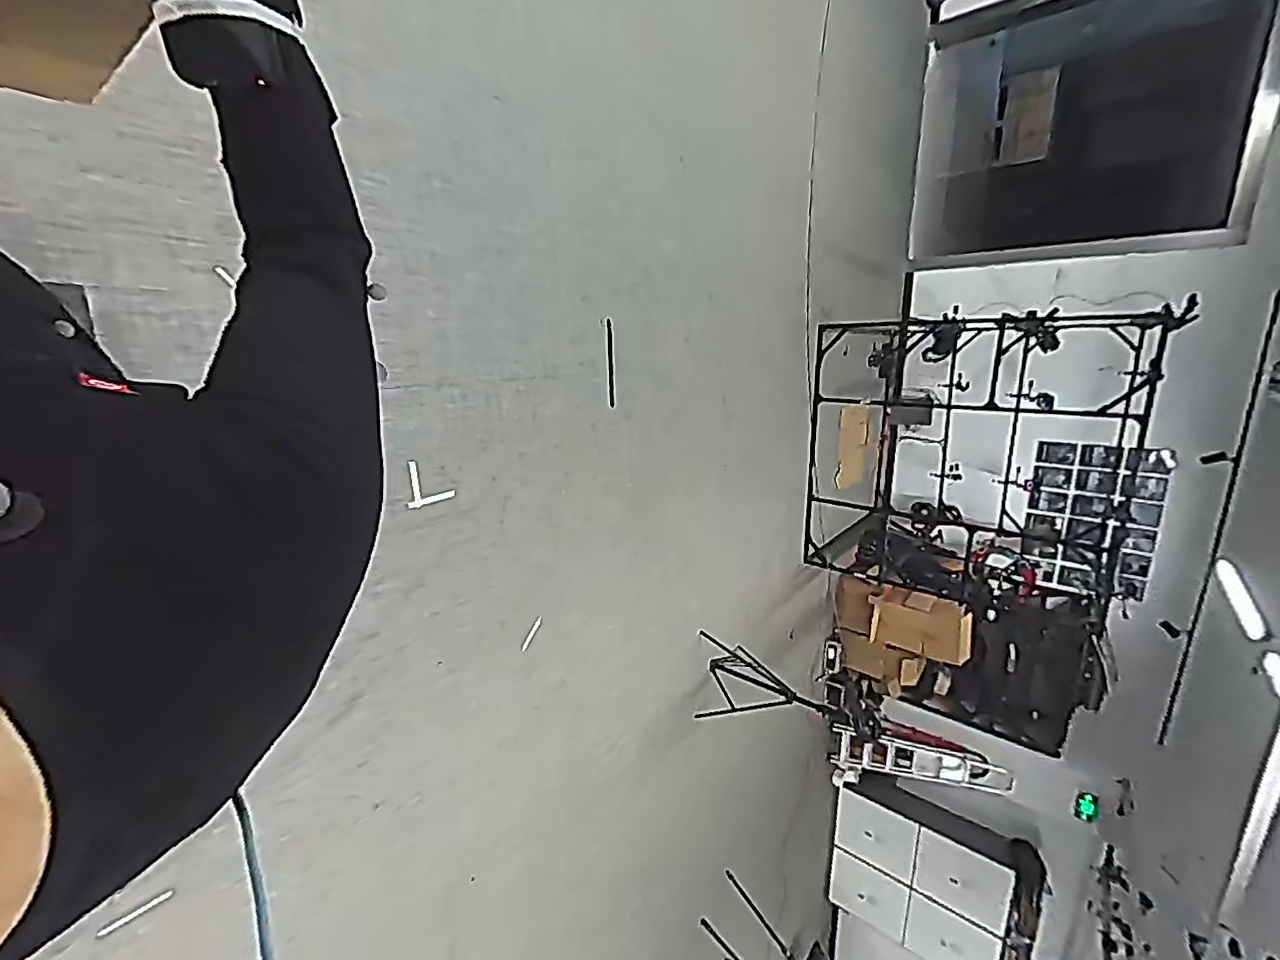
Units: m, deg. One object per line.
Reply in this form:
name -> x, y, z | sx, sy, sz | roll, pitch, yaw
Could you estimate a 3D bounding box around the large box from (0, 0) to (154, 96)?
large box -> -0.536, -0.439, 0.240 | 0.408, 0.320, 0.320 | -19, 116, -49
